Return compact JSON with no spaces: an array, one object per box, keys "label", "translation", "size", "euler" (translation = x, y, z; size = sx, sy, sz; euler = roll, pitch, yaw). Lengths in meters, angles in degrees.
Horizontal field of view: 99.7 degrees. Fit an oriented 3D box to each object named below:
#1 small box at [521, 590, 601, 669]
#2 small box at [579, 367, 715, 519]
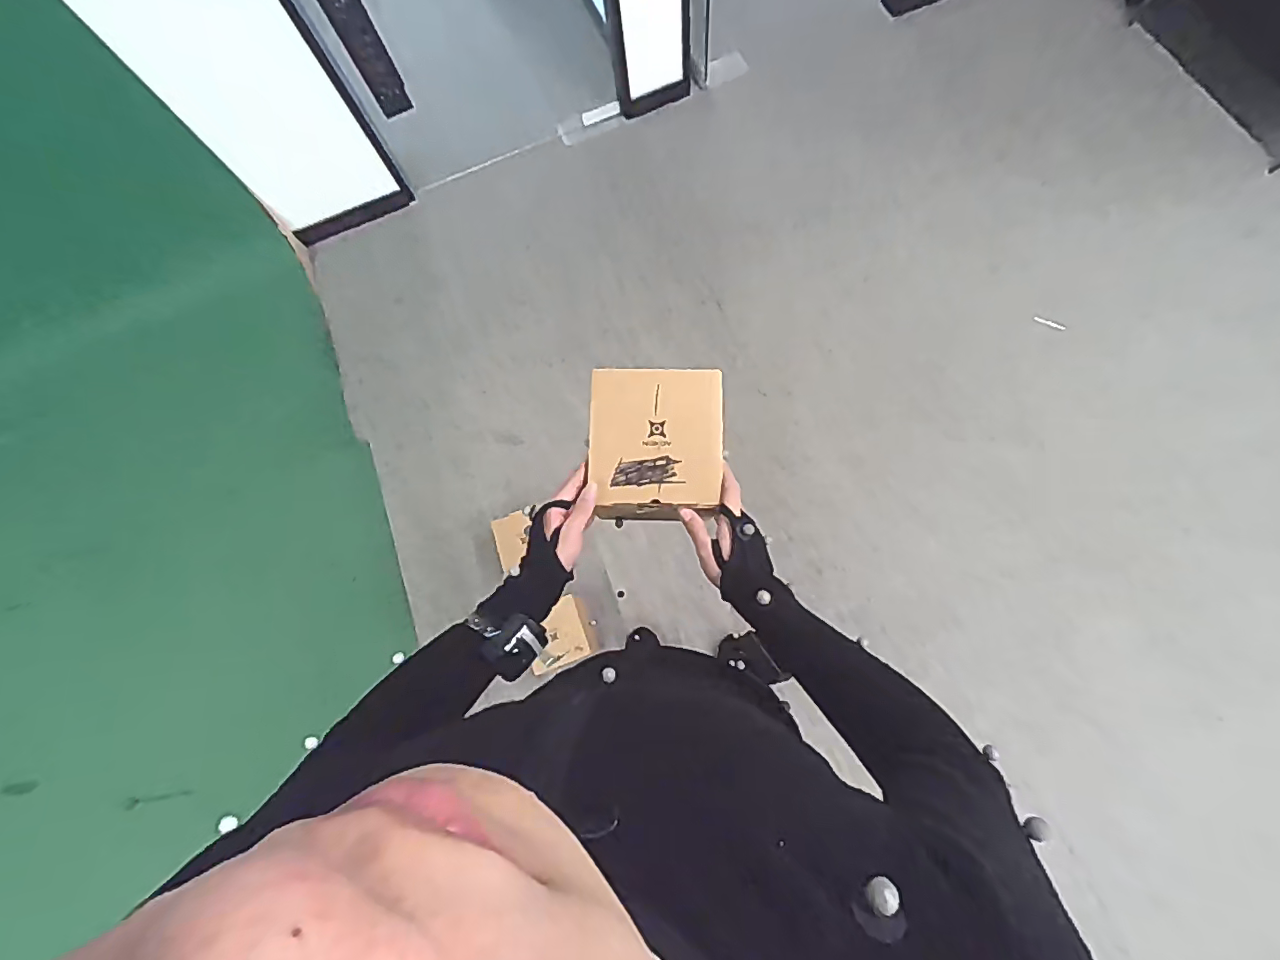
[{"label":"small box","translation":[-0.226,0.440,1.575],"size":[0.168,0.176,0.179],"euler":[-20,71,-1]},{"label":"small box","translation":[0.013,-0.042,0.744],"size":[0.168,0.176,0.179],"euler":[1,79,2]}]
